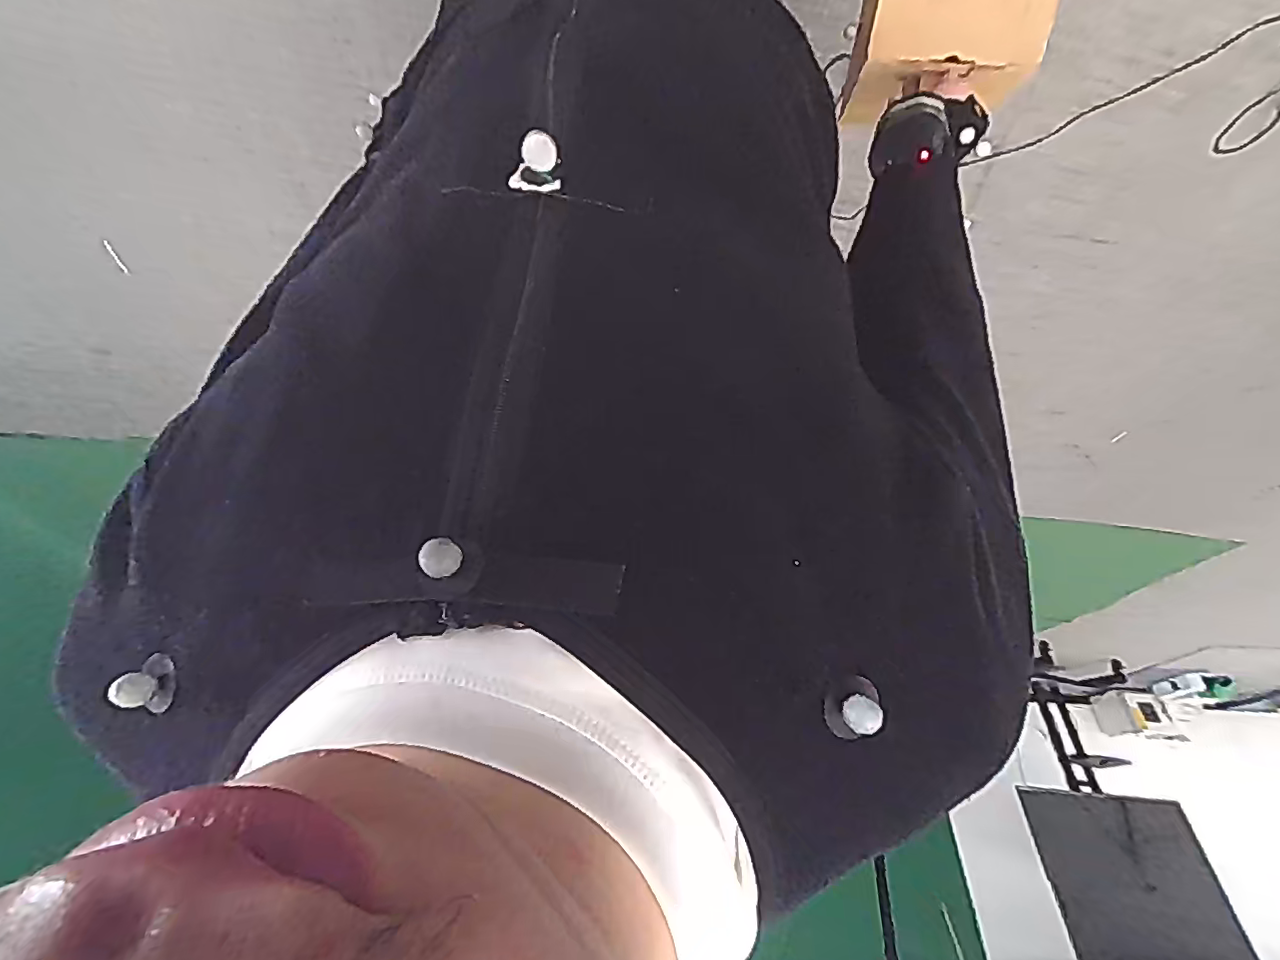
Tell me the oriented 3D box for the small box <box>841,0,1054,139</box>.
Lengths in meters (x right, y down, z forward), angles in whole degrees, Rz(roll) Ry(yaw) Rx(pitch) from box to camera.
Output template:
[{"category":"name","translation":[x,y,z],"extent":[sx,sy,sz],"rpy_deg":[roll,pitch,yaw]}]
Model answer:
[{"category":"small box","translation":[0.332,-0.507,0.595],"extent":[0.168,0.176,0.179],"rpy_deg":[12,103,7]}]
